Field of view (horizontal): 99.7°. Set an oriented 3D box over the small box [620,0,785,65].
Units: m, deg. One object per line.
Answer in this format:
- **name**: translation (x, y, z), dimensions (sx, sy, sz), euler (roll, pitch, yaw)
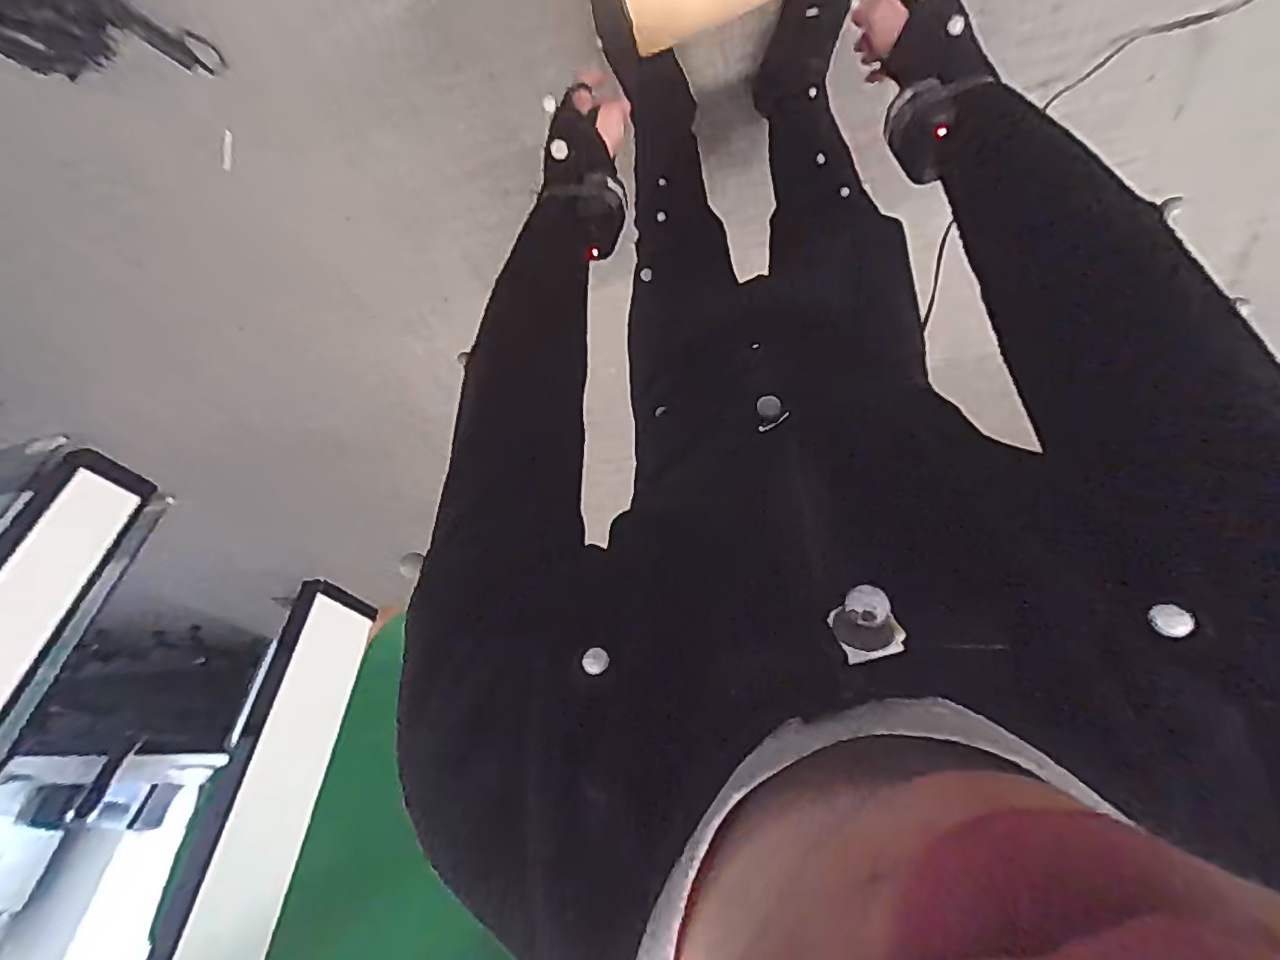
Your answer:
- **small box**: translation (0.060, -0.621, 0.610), dimensions (0.179, 0.176, 0.168), euler (-10, 142, 20)
